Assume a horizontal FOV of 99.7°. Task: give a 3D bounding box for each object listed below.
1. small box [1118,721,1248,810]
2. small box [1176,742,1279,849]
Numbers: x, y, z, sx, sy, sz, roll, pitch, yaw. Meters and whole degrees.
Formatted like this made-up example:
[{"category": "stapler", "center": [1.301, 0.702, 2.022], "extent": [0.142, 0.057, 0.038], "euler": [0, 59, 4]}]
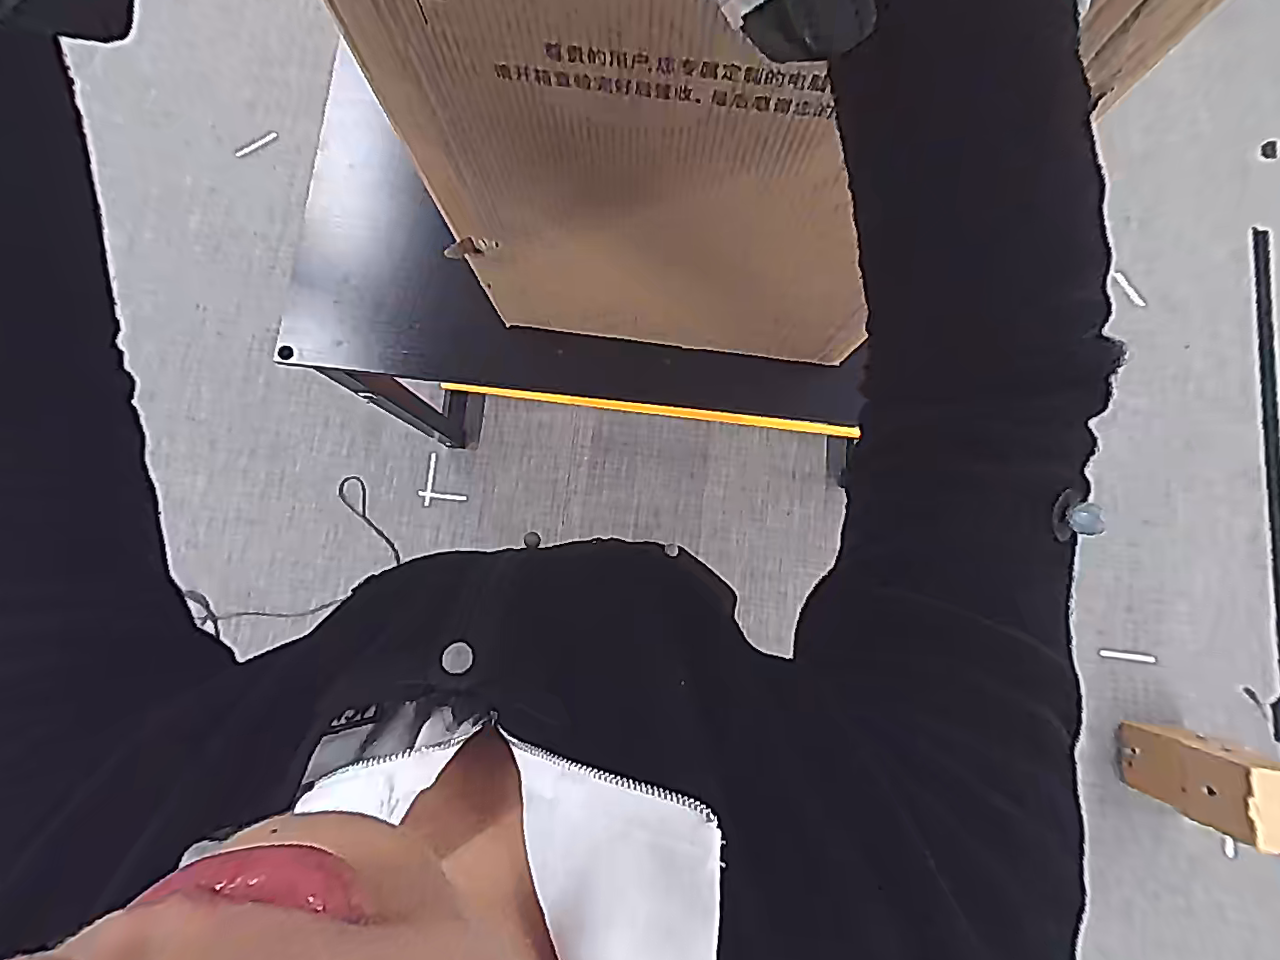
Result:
[{"category": "small box", "center": [1.379, 0.729, 1.379], "extent": [0.179, 0.176, 0.168], "euler": [5, 81, 1]}, {"category": "small box", "center": [1.365, 0.706, 1.216], "extent": [0.179, 0.176, 0.168], "euler": [7, 81, 1]}]
